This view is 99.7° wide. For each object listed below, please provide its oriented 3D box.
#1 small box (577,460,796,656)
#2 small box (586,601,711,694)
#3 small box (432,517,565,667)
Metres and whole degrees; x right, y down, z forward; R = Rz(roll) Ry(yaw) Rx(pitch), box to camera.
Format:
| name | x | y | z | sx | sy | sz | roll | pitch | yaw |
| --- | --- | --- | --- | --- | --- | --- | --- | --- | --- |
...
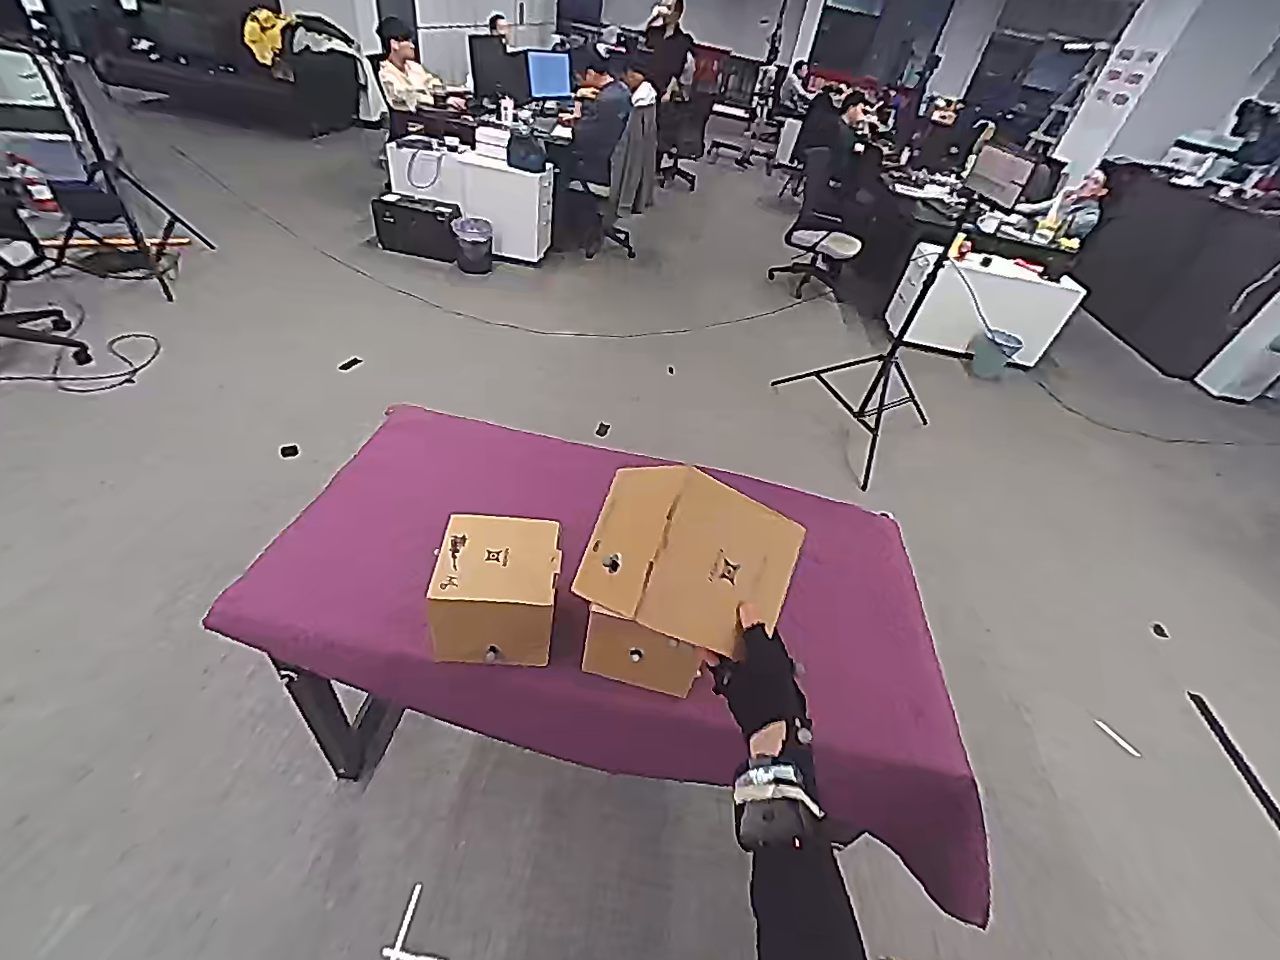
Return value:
| name | x | y | z | sx | sy | sz | roll | pitch | yaw |
| --- | --- | --- | --- | --- | --- | --- | --- | --- | --- |
| small box | 0.047 | 0.089 | 0.644 | 0.179 | 0.176 | 0.168 | 25 | 77 | -25 |
| small box | 0.021 | 0.221 | 0.879 | 0.179 | 0.176 | 0.168 | 14 | 40 | 4 |
| small box | -0.221 | 0.182 | 0.868 | 0.179 | 0.176 | 0.168 | 6 | 40 | -9 |
